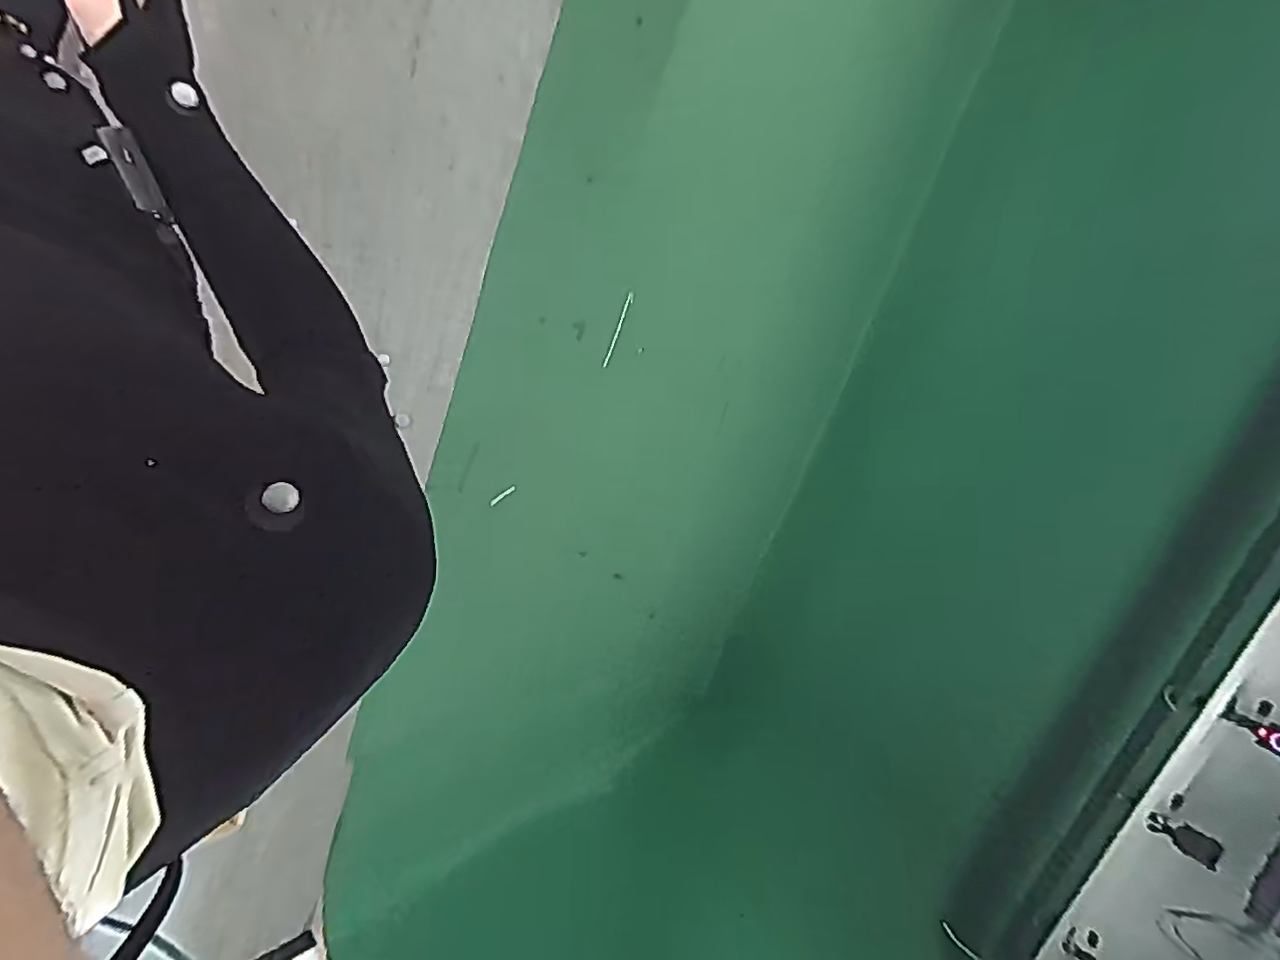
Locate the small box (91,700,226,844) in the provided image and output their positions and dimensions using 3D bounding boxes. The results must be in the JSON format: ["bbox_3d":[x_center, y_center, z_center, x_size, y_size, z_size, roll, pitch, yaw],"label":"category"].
[{"bbox_3d":[-0.988,0.583,1.109,0.179,0.176,0.168,6,108,-50],"label":"small box"}]
